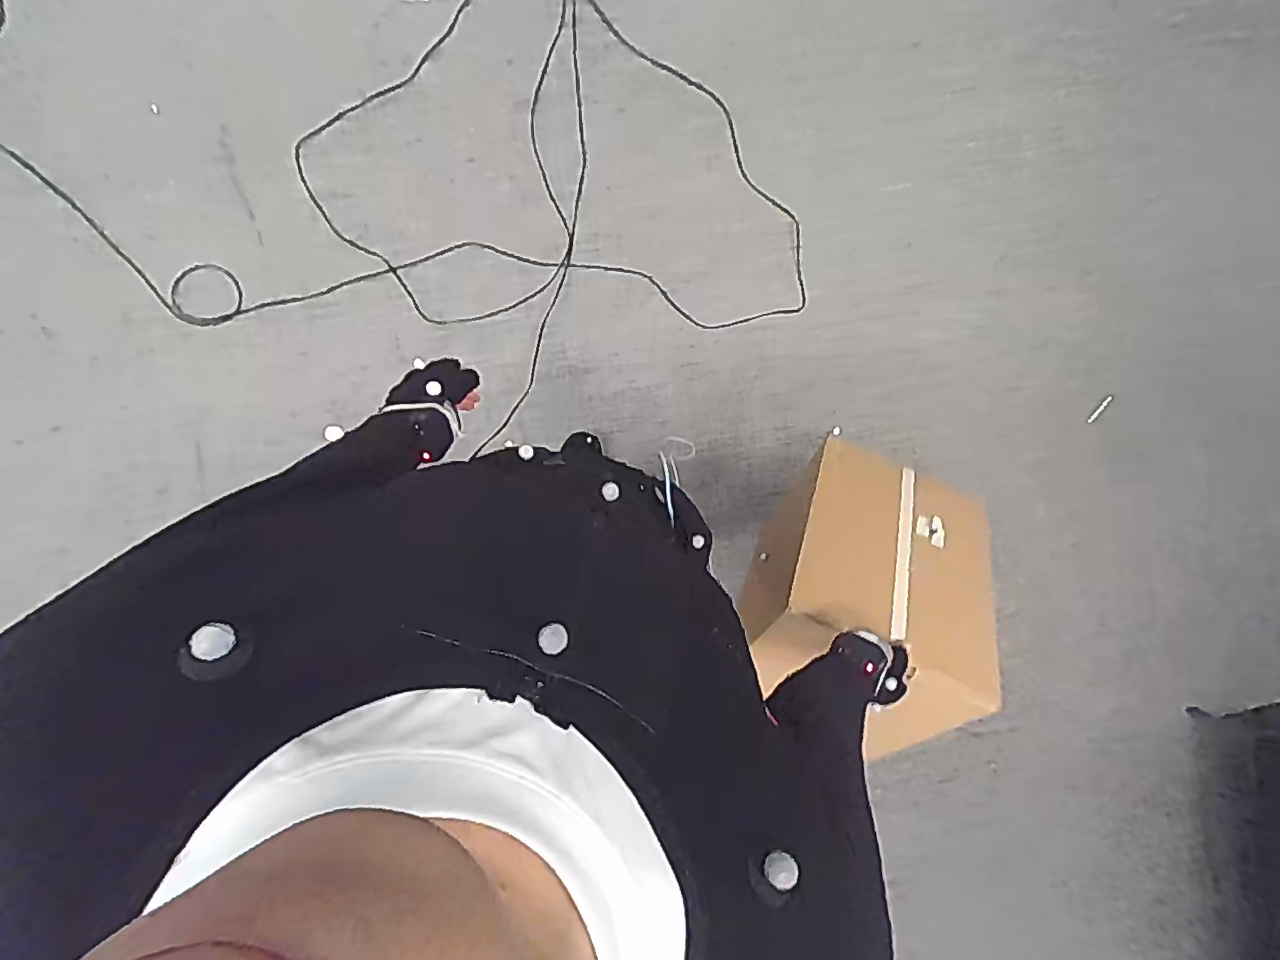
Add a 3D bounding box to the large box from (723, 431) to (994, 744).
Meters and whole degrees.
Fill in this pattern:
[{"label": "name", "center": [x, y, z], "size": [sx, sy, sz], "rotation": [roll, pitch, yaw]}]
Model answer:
[{"label": "large box", "center": [0.384, 0.193, 0.994], "size": [0.320, 0.320, 0.408], "rotation": [25, 48, 4]}]
